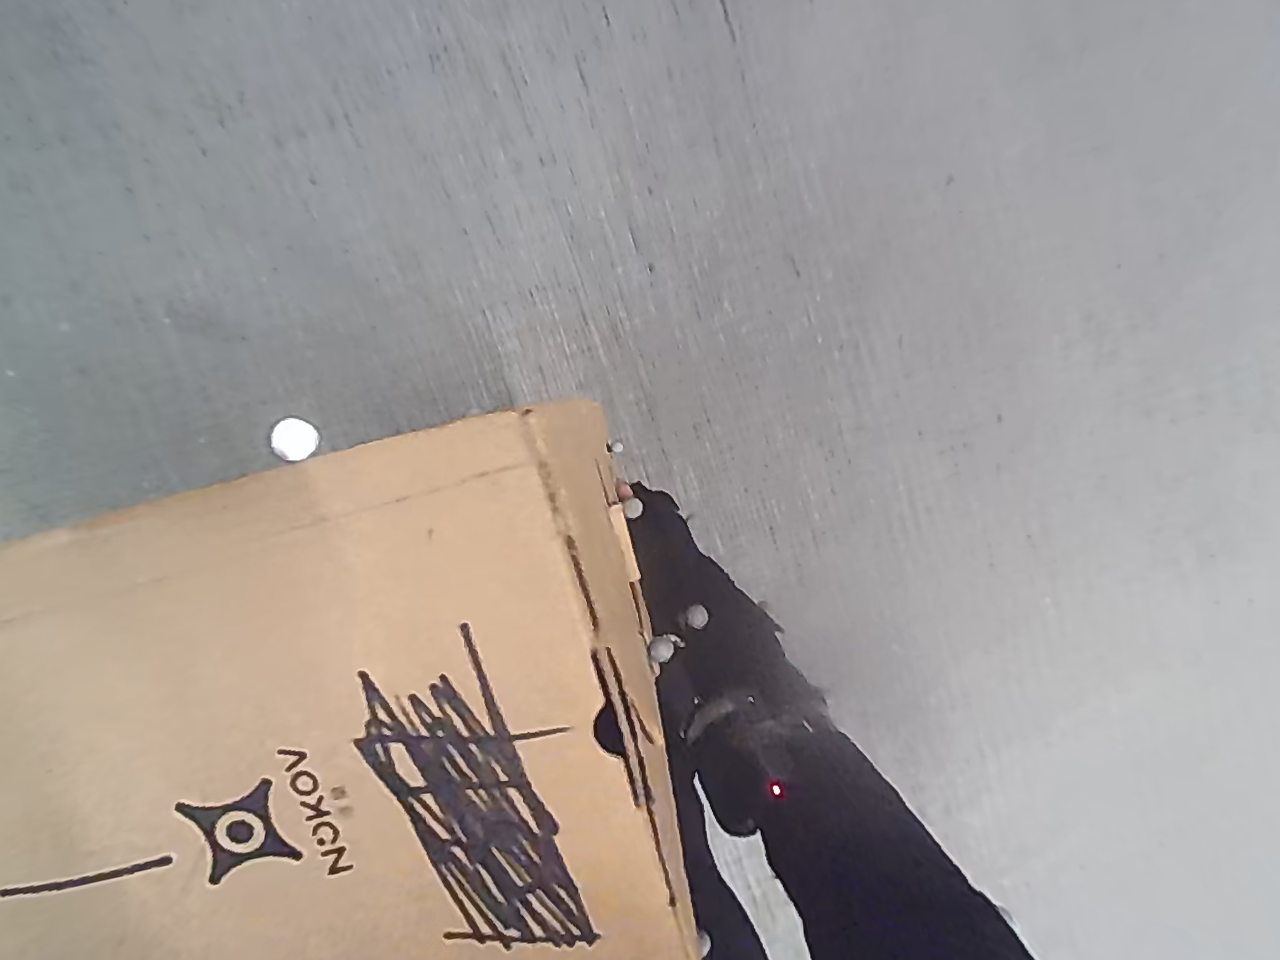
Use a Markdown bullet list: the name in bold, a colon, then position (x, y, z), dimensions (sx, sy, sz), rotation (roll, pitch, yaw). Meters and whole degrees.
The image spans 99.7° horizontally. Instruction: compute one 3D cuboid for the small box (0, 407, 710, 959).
- **small box**: position (-0.086, 0.071, 0.203), dimensions (0.179, 0.176, 0.168), rotation (-14, 99, 1)
